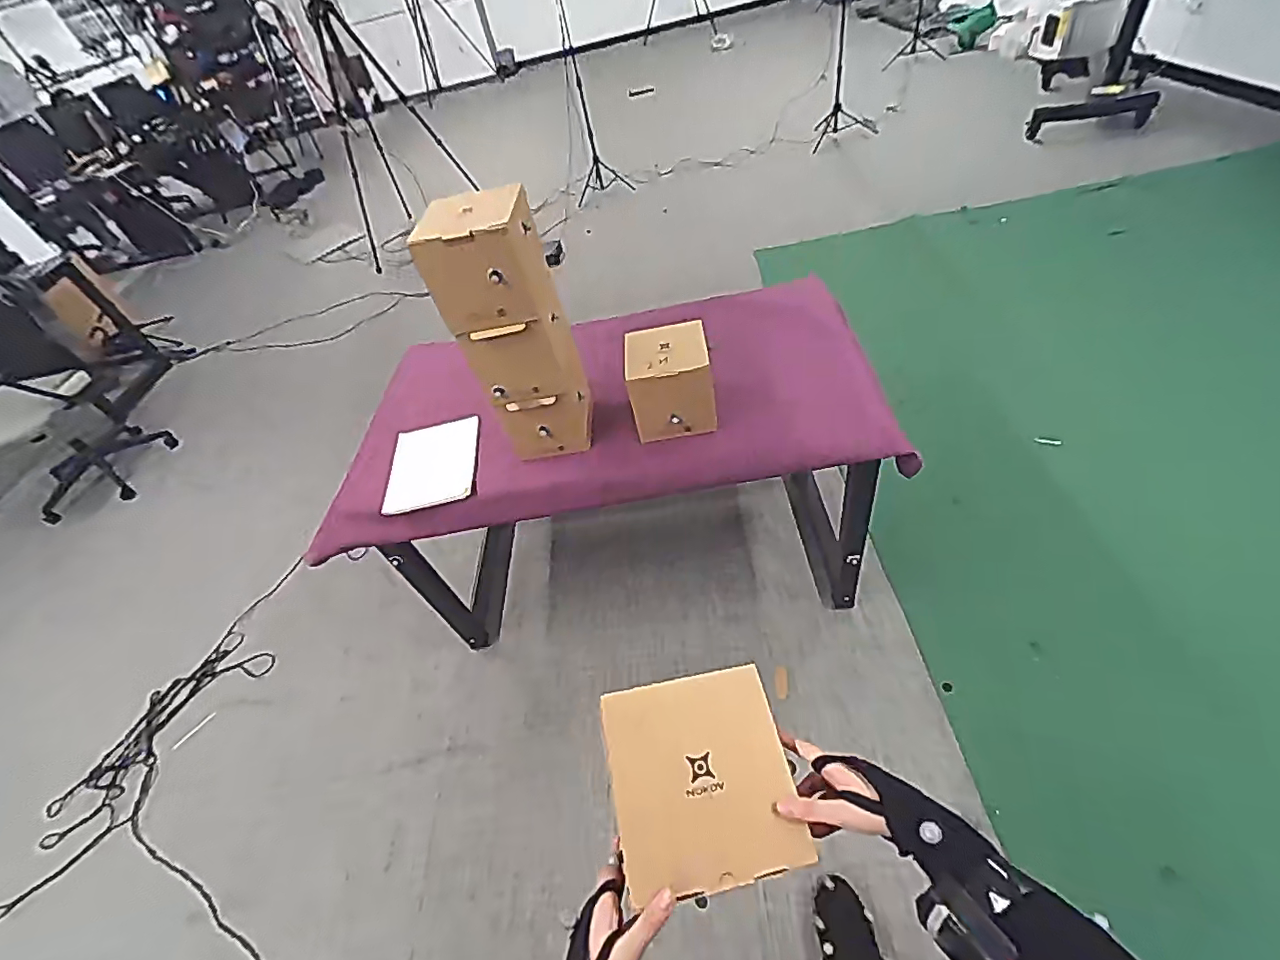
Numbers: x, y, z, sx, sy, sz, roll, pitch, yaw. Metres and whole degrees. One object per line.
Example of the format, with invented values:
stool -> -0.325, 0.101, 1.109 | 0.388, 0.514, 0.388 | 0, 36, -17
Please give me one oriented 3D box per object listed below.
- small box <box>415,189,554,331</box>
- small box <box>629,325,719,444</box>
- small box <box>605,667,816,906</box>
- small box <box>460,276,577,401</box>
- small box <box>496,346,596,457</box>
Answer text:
small box -> -0.257, -0.376, 0.944 | 0.168, 0.176, 0.179 | -7, 46, 7
small box -> 0.073, -0.200, 1.149 | 0.168, 0.176, 0.179 | -8, 46, 8
small box -> 0.054, 0.321, 0.567 | 0.168, 0.176, 0.179 | -8, 54, -8
small box -> -0.227, -0.270, 1.065 | 0.168, 0.176, 0.179 | -8, 46, 7
small box -> -0.197, -0.165, 1.188 | 0.168, 0.176, 0.179 | -8, 47, 7
